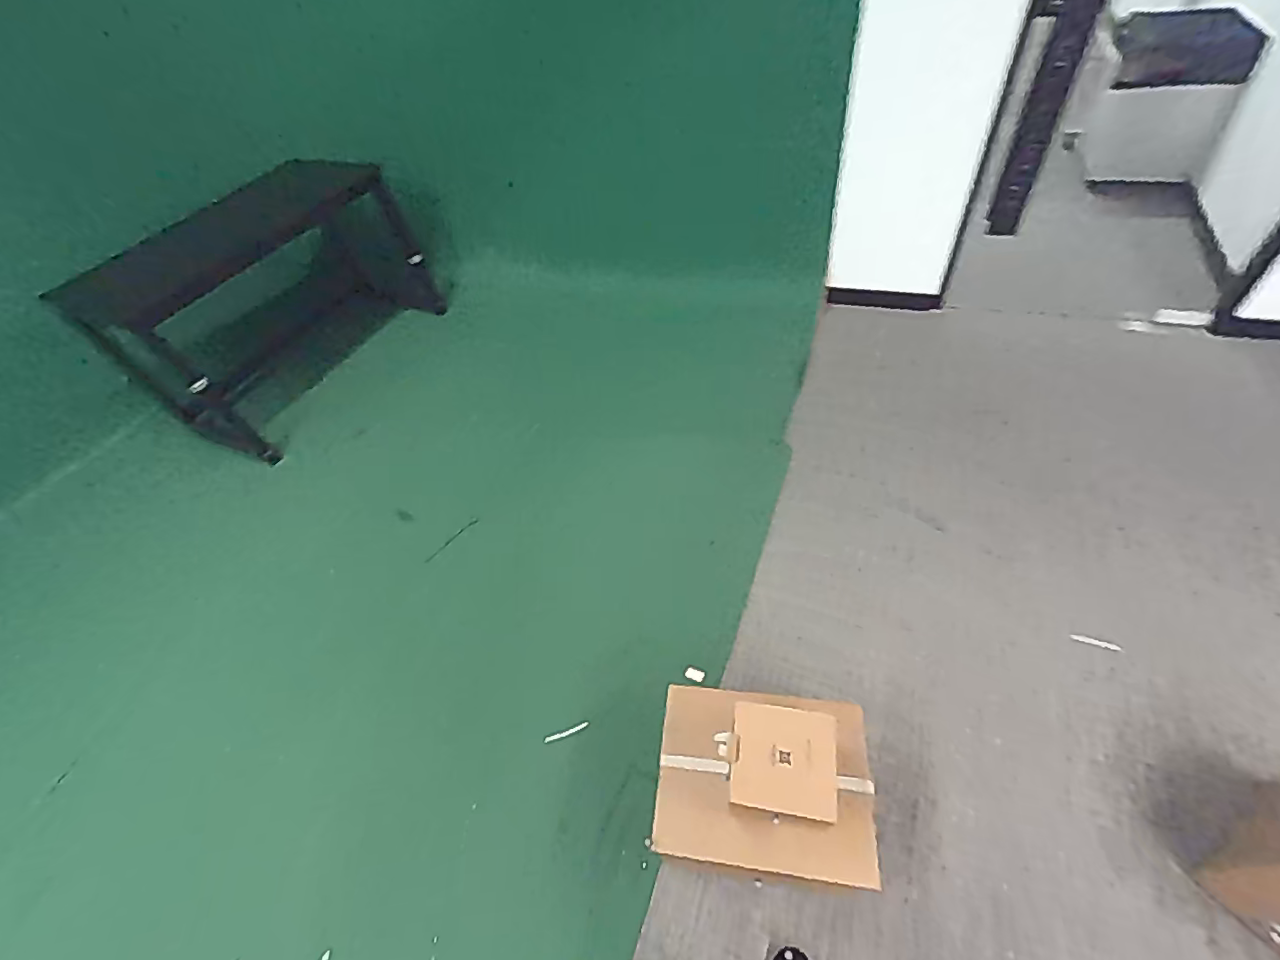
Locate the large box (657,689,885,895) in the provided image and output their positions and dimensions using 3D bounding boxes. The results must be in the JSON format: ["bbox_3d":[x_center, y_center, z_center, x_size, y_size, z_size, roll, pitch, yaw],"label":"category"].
[{"bbox_3d":[0.272,0.669,1.163,0.408,0.320,0.320,0,50,13],"label":"large box"}]

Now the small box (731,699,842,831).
[{"bbox_3d":[0.262,0.514,0.970,0.179,0.176,0.168,4,53,14],"label":"small box"}]
